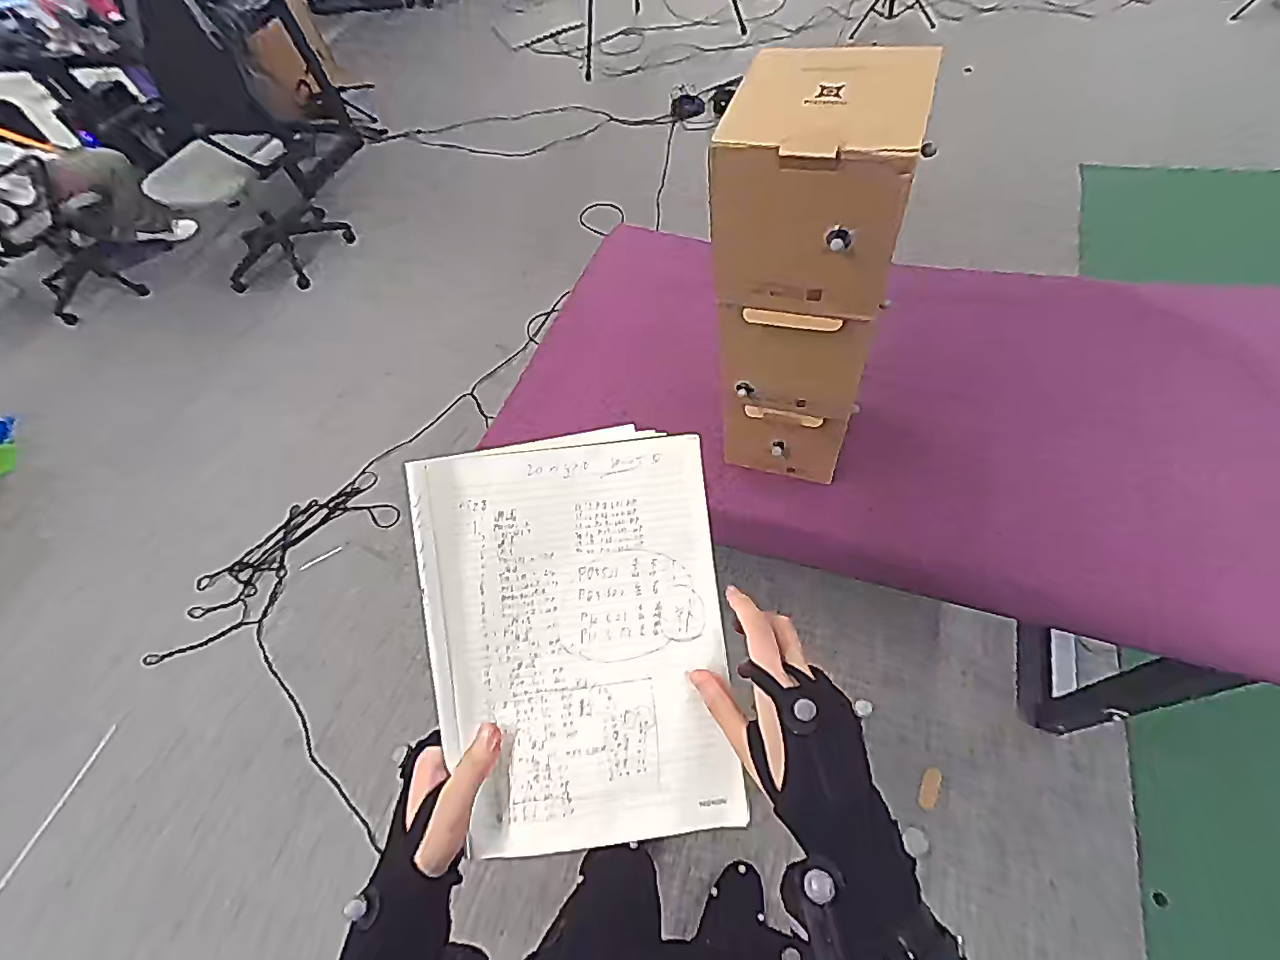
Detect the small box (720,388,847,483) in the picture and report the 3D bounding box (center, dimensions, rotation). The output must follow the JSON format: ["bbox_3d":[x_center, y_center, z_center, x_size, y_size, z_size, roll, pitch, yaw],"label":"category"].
[{"bbox_3d":[0.227,-0.117,0.818,0.168,0.176,0.179,14,62,18],"label":"small box"}]

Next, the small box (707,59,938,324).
[{"bbox_3d":[0.174,-0.282,0.539,0.168,0.176,0.179,15,61,18],"label":"small box"}]

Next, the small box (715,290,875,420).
[{"bbox_3d":[0.200,-0.199,0.677,0.168,0.176,0.179,14,60,18],"label":"small box"}]
